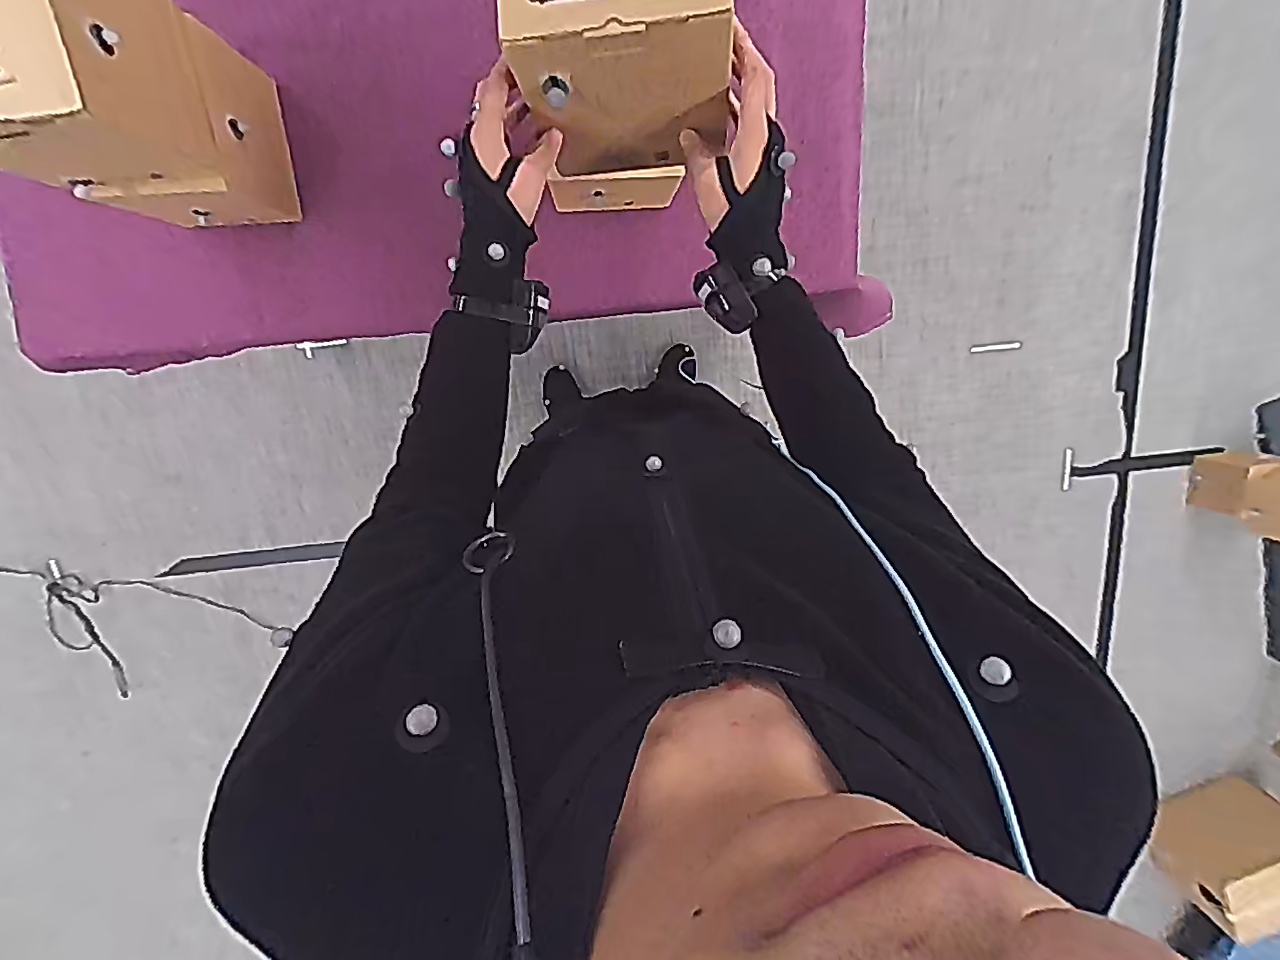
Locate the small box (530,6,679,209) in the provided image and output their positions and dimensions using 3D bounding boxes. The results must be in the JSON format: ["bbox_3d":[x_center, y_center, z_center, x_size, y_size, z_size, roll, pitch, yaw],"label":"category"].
[{"bbox_3d":[-0.041,-0.458,0.695,0.168,0.176,0.179,-4,104,-3],"label":"small box"}]

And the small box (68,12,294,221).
[{"bbox_3d":[-0.559,-0.423,0.660,0.168,0.176,0.179,-4,105,-4],"label":"small box"}]

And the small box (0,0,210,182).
[{"bbox_3d":[-0.552,-0.393,0.499,0.168,0.176,0.179,-8,104,-3],"label":"small box"}]
